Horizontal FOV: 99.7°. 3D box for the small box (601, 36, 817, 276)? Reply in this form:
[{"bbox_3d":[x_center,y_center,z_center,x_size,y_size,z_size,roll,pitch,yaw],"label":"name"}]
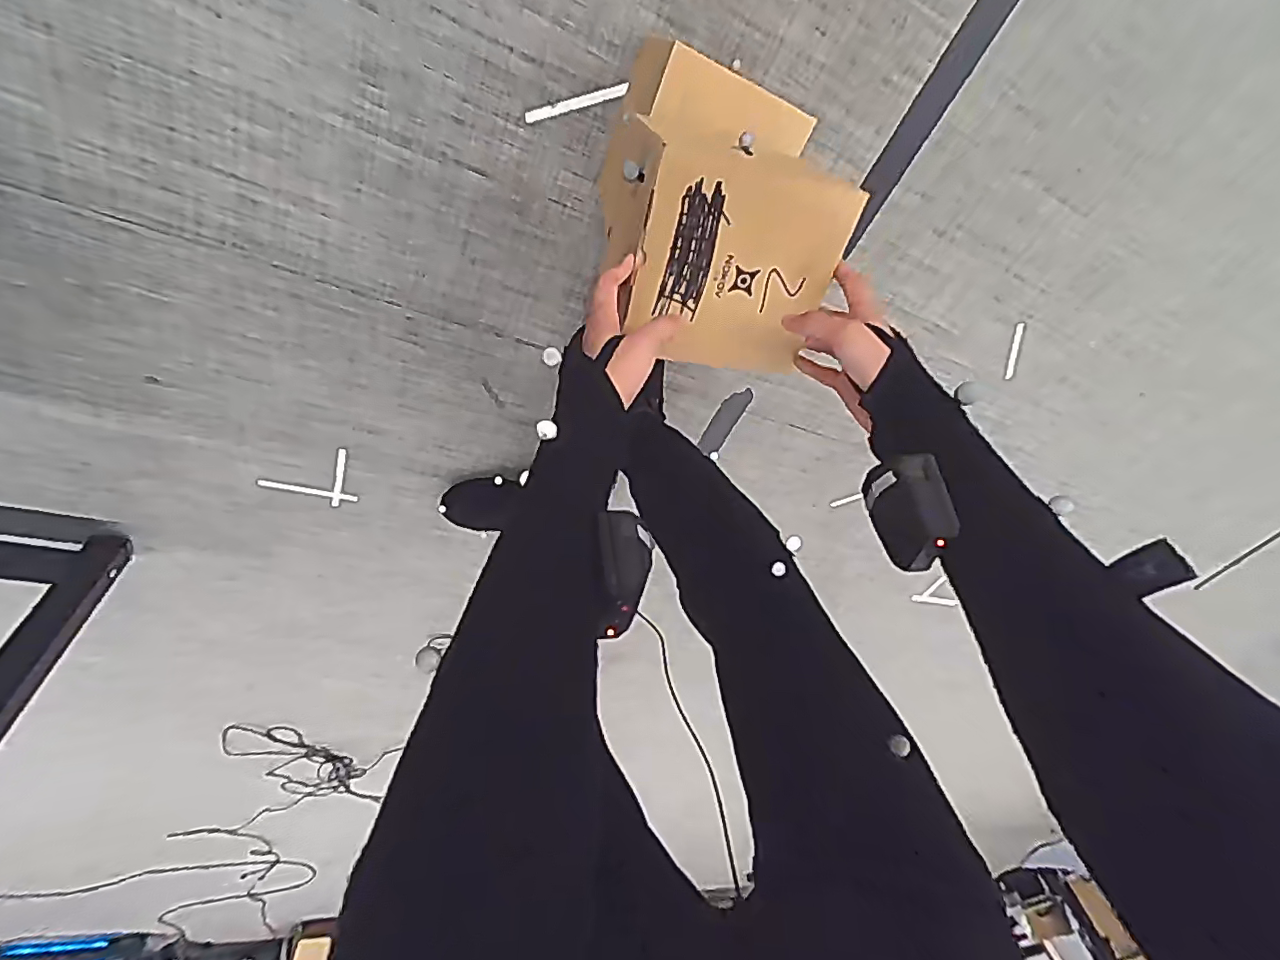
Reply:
[{"bbox_3d":[0.061,-0.373,0.623,0.168,0.176,0.179,13,128,-22],"label":"small box"}]
